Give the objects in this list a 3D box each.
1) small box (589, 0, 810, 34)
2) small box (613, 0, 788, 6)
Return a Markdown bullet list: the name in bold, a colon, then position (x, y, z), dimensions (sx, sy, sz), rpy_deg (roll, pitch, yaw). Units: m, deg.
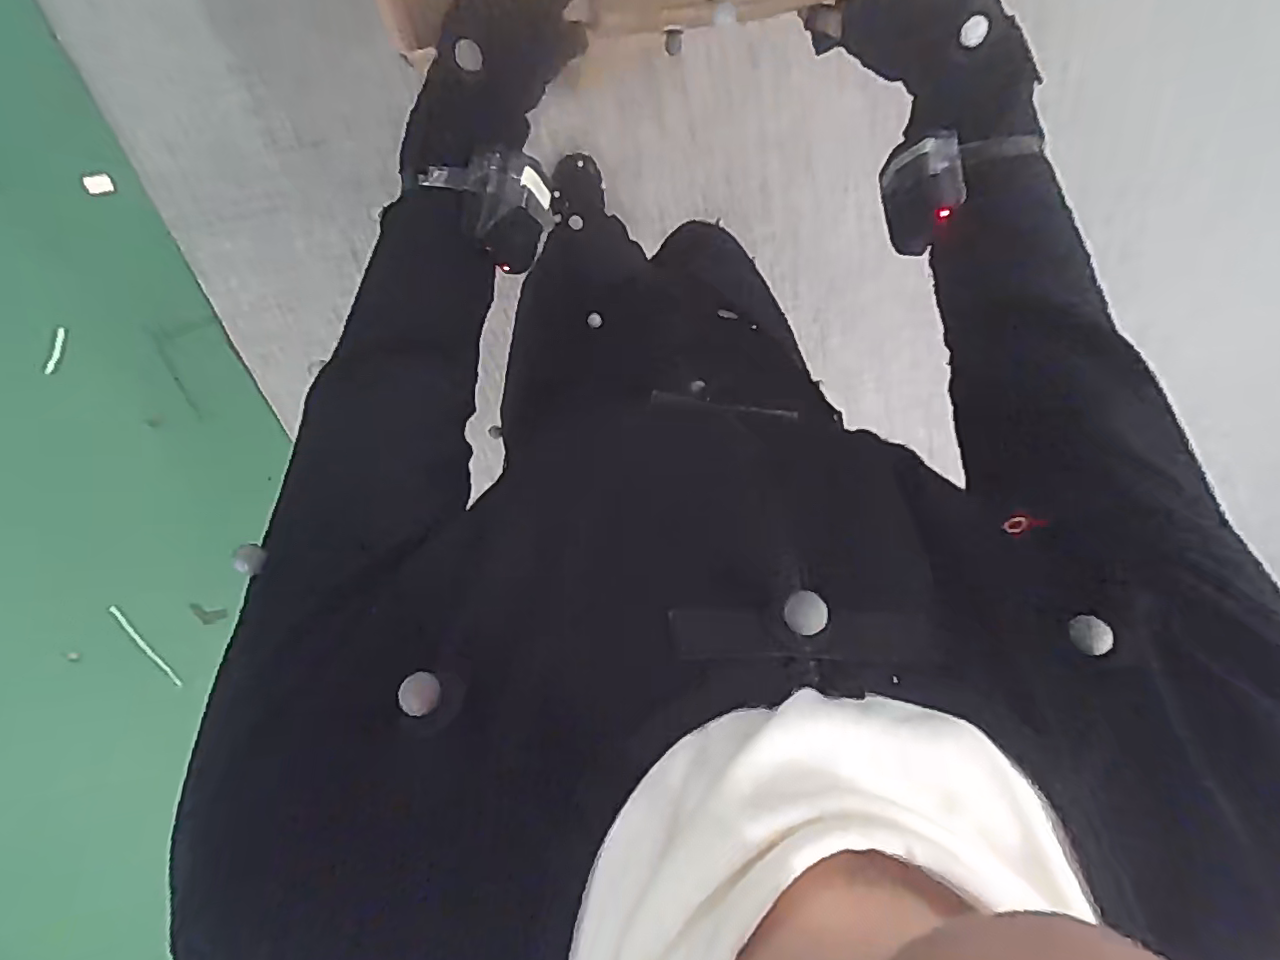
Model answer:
- **small box**: position (0.036, -0.444, 0.387), dimensions (0.168, 0.176, 0.179), rpy_deg (-8, 128, -1)
- **small box**: position (0.053, -0.350, 0.253), dimensions (0.168, 0.176, 0.179), rpy_deg (-5, 127, -3)
